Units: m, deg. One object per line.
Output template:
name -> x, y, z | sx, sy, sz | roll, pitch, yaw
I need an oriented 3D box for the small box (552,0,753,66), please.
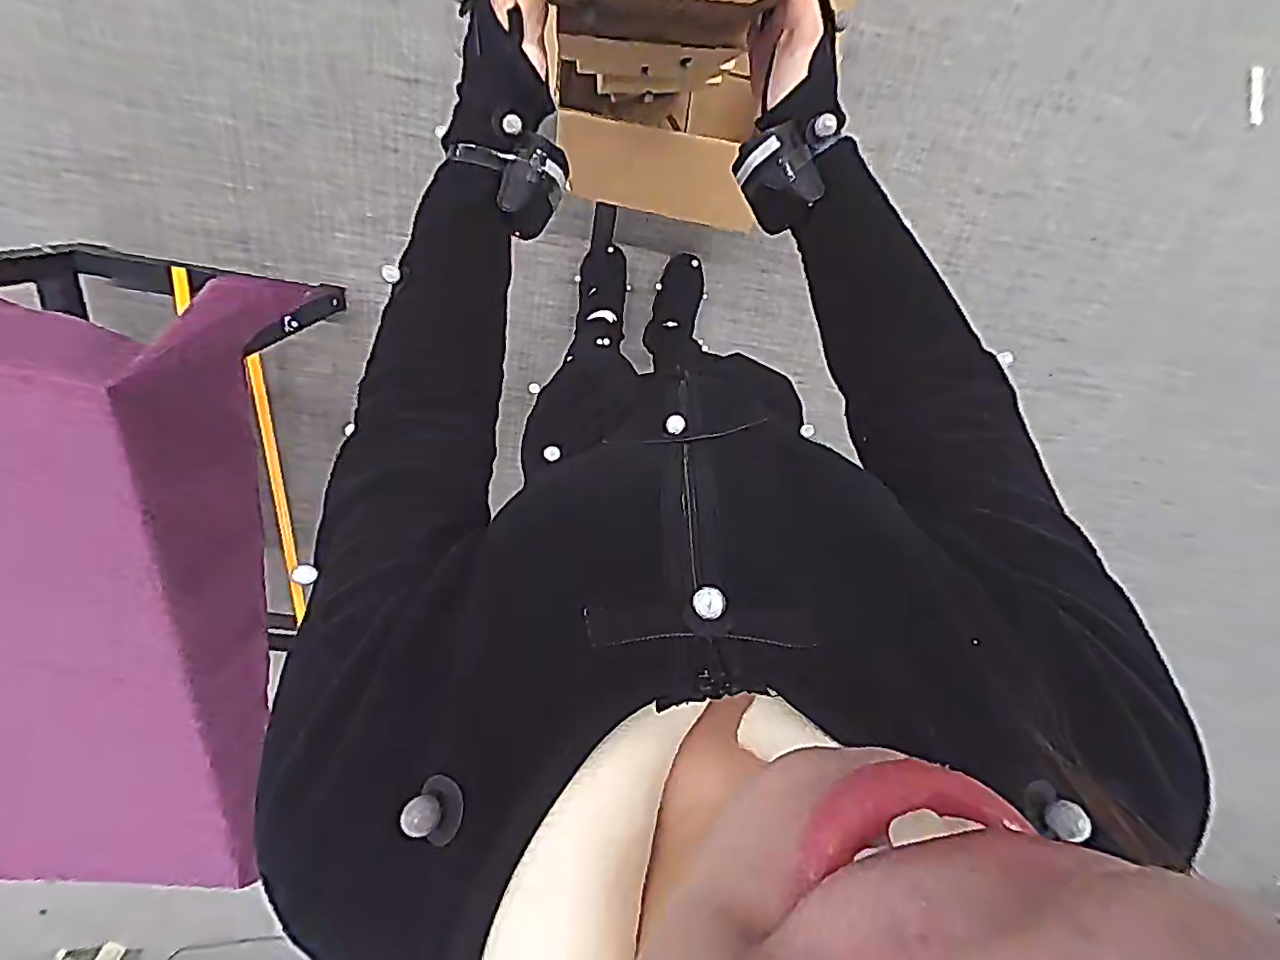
small box -> 0.010, -0.482, 0.471 | 0.168, 0.176, 0.179 | 0, 122, -7

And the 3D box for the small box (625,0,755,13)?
small box -> 0.020, -0.409, 0.323 | 0.168, 0.176, 0.179 | -1, 122, -7

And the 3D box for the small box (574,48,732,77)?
small box -> 0.012, -0.568, 0.610 | 0.179, 0.176, 0.168 | 0, 123, -7

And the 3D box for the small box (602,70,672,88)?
small box -> 0.014, -0.759, 0.880 | 0.179, 0.176, 0.168 | -13, 122, 0
